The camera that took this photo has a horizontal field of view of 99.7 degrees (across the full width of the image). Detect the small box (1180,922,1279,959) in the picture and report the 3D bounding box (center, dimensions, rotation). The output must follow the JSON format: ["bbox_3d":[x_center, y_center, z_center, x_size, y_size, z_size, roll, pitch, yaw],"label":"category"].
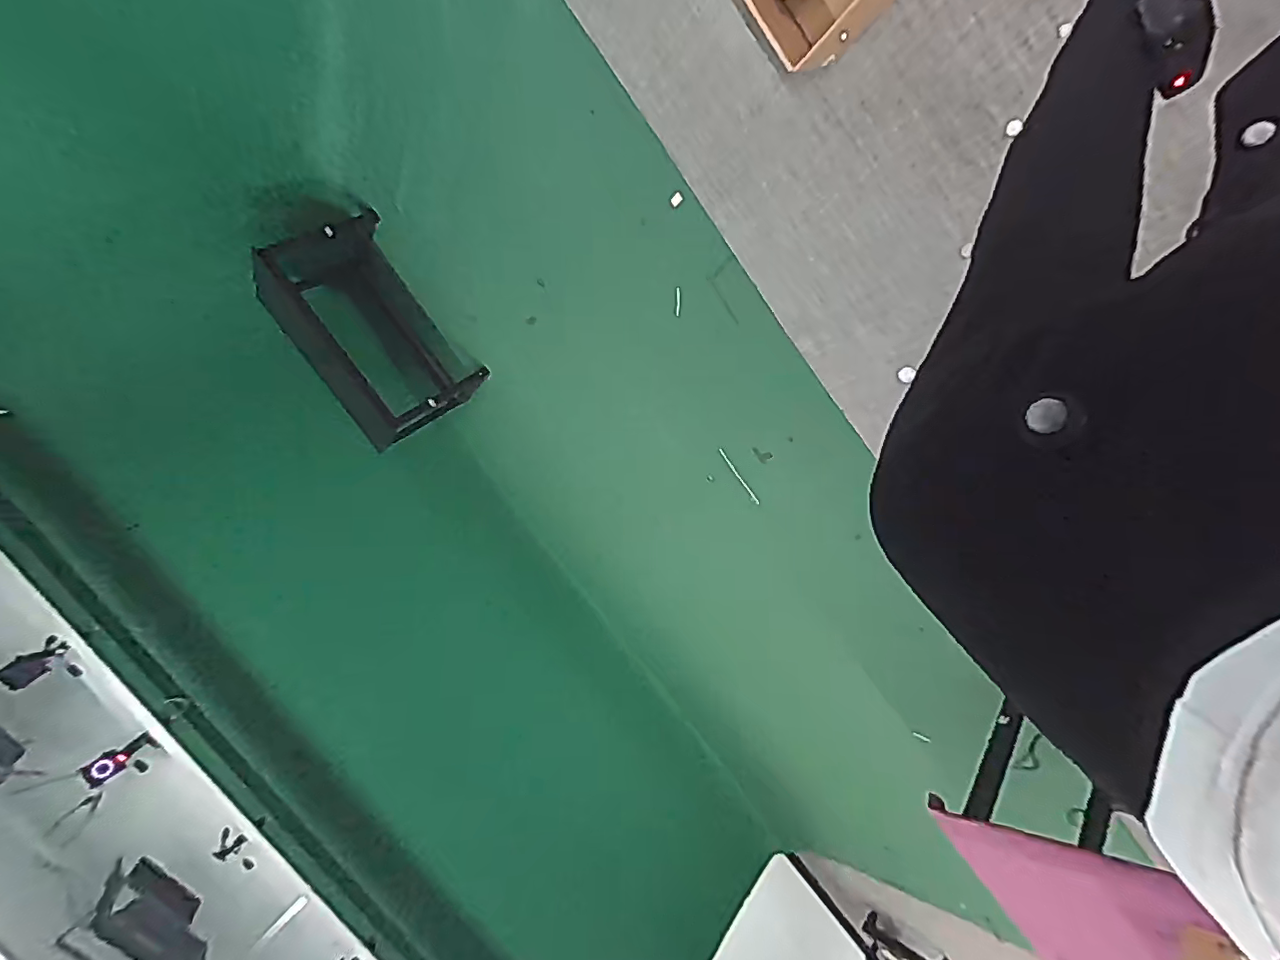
[{"bbox_3d":[1.246,1.070,1.101,0.179,0.176,0.168,53,148,-8],"label":"small box"}]
